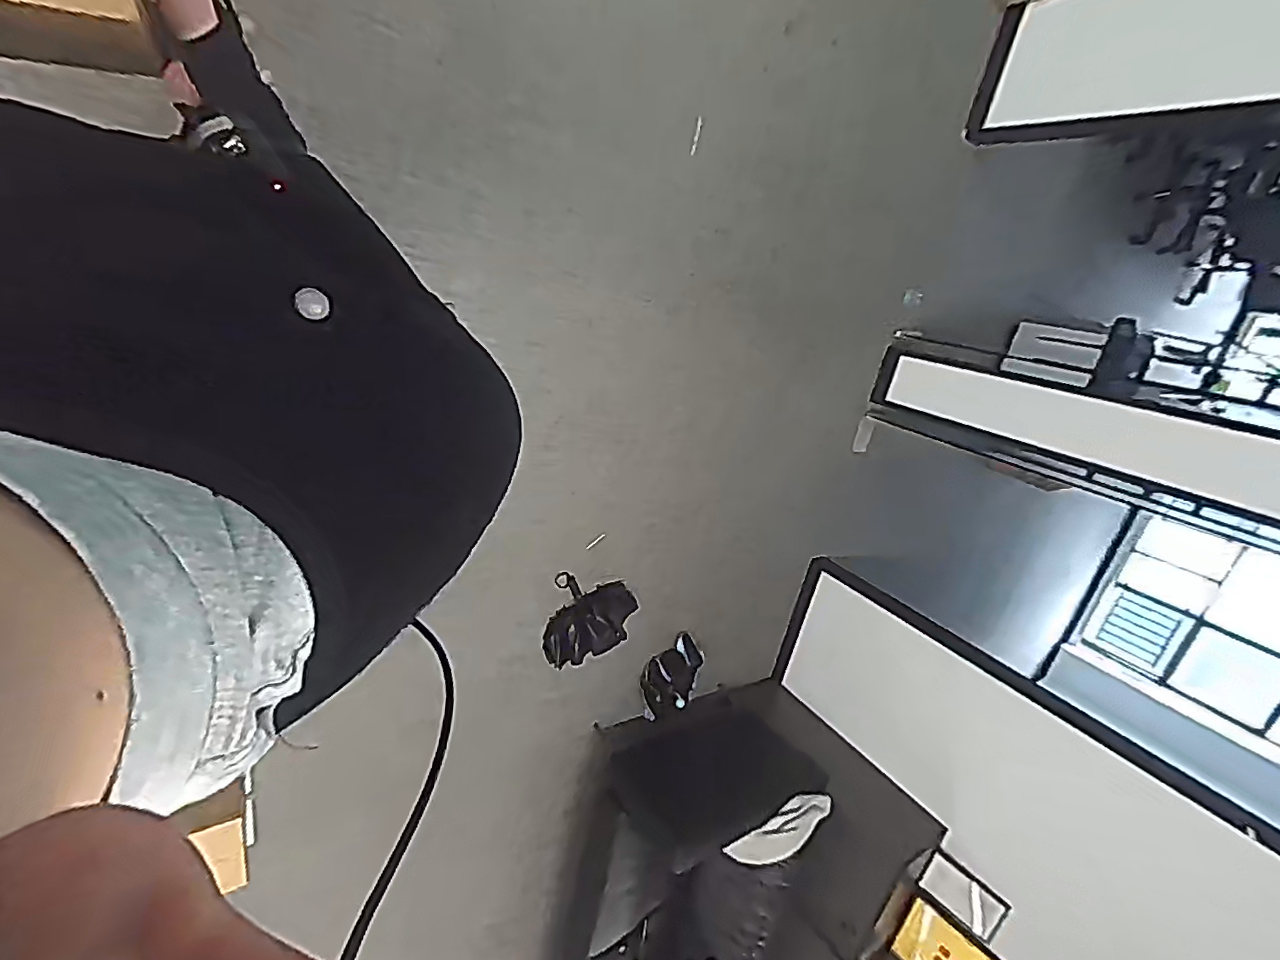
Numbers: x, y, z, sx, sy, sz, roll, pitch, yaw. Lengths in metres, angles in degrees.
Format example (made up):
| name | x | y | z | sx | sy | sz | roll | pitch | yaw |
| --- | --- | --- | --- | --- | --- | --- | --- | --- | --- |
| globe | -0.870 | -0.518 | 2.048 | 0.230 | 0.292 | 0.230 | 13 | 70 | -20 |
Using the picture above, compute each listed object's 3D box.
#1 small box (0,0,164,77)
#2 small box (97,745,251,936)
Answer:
| name | x | y | z | sx | sy | sz | roll | pitch | yaw |
| --- | --- | --- | --- | --- | --- | --- | --- | --- | --- |
| small box | -0.423 | -0.362 | 0.317 | 0.179 | 0.176 | 0.168 | -14 | 119 | -31 |
| small box | -0.764 | 0.588 | 0.906 | 0.179 | 0.176 | 0.168 | -4 | 115 | -36 |
